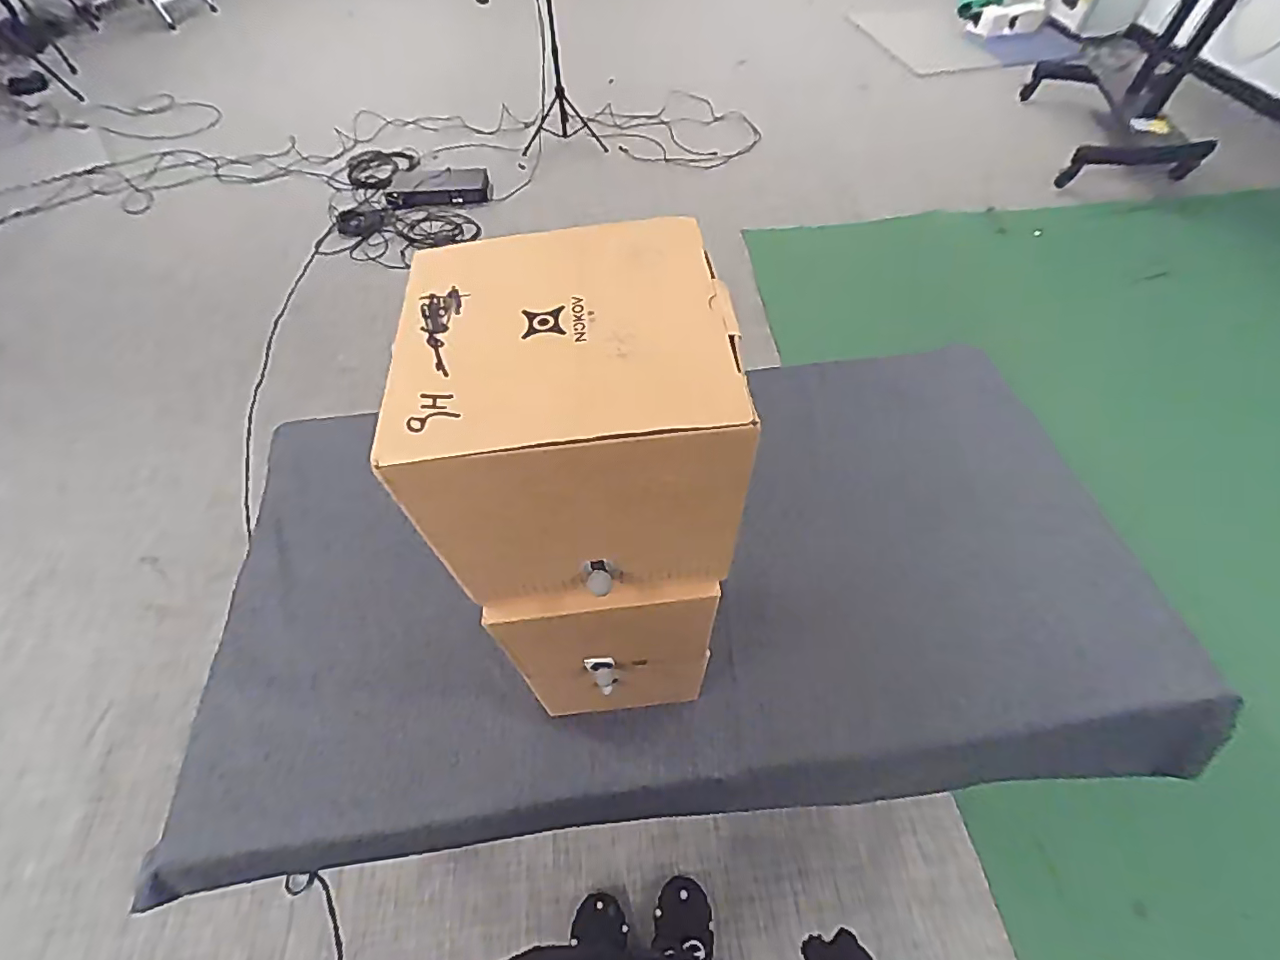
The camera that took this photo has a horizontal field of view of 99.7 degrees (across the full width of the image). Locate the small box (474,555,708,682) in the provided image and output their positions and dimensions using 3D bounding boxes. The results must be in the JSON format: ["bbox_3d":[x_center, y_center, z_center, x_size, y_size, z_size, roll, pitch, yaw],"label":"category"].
[{"bbox_3d":[-0.038,0.063,0.483,0.168,0.176,0.179,-8,57,-1],"label":"small box"}]

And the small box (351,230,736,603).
[{"bbox_3d":[-0.047,-0.033,0.351,0.179,0.176,0.168,-6,55,-1],"label":"small box"}]

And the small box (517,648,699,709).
[{"bbox_3d":[-0.033,0.153,0.617,0.179,0.176,0.168,-5,56,-2],"label":"small box"}]
